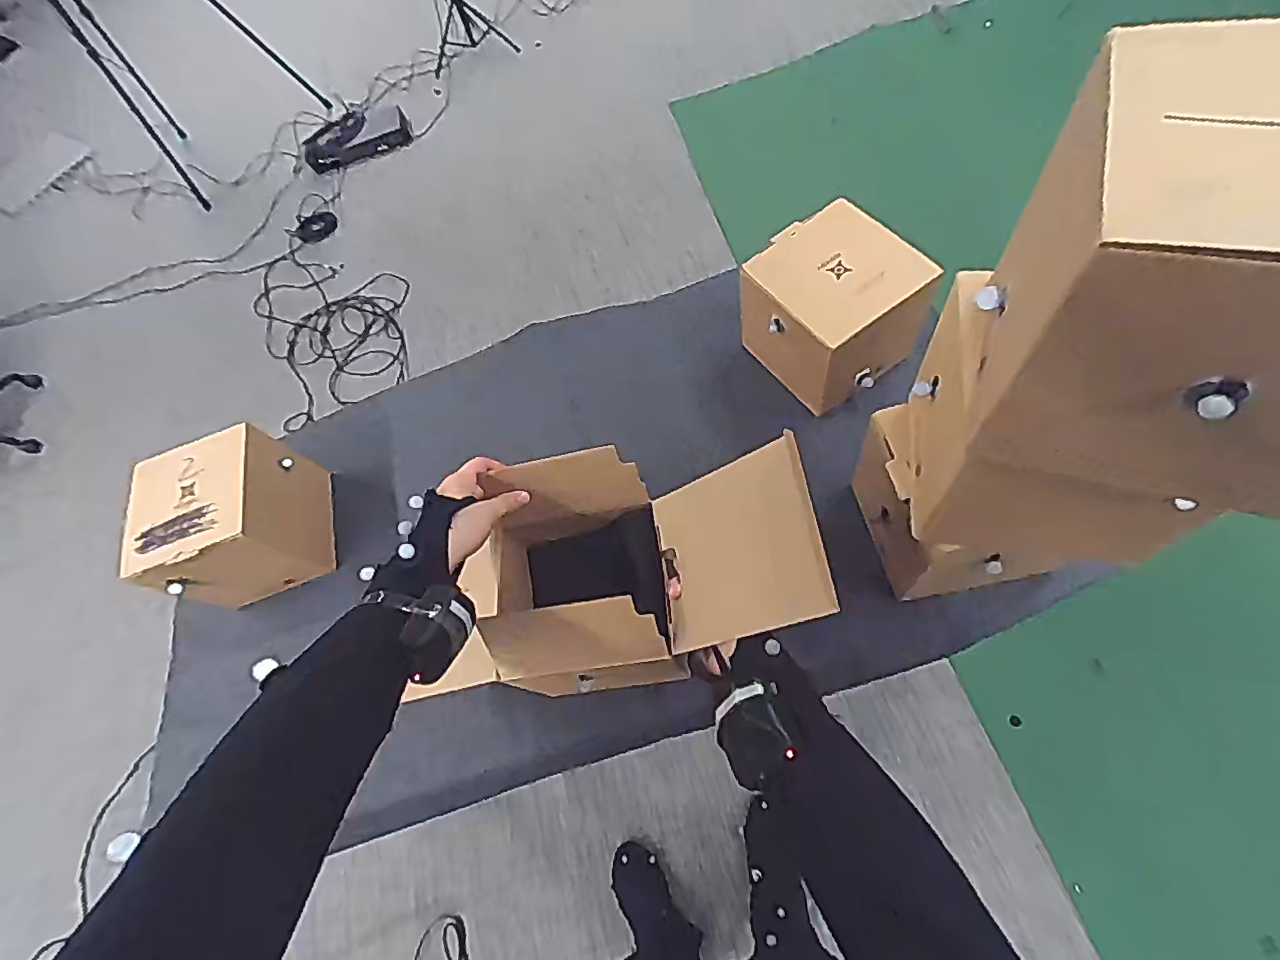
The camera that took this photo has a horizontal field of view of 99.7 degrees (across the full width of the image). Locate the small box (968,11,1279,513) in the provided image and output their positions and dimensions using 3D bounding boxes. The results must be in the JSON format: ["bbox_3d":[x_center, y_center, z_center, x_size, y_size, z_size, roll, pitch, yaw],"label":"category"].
[{"bbox_3d":[0.305,-0.099,0.282,0.179,0.176,0.168,15,67,20],"label":"small box"}]

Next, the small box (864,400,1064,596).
[{"bbox_3d":[0.358,0.014,0.588,0.179,0.176,0.168,-14,61,6],"label":"small box"}]

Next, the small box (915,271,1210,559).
[{"bbox_3d":[0.333,-0.046,0.437,0.179,0.176,0.168,6,64,15],"label":"small box"}]

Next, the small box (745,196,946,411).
[{"bbox_3d":[0.256,-0.226,0.722,0.168,0.176,0.179,-35,65,-2],"label":"small box"}]
